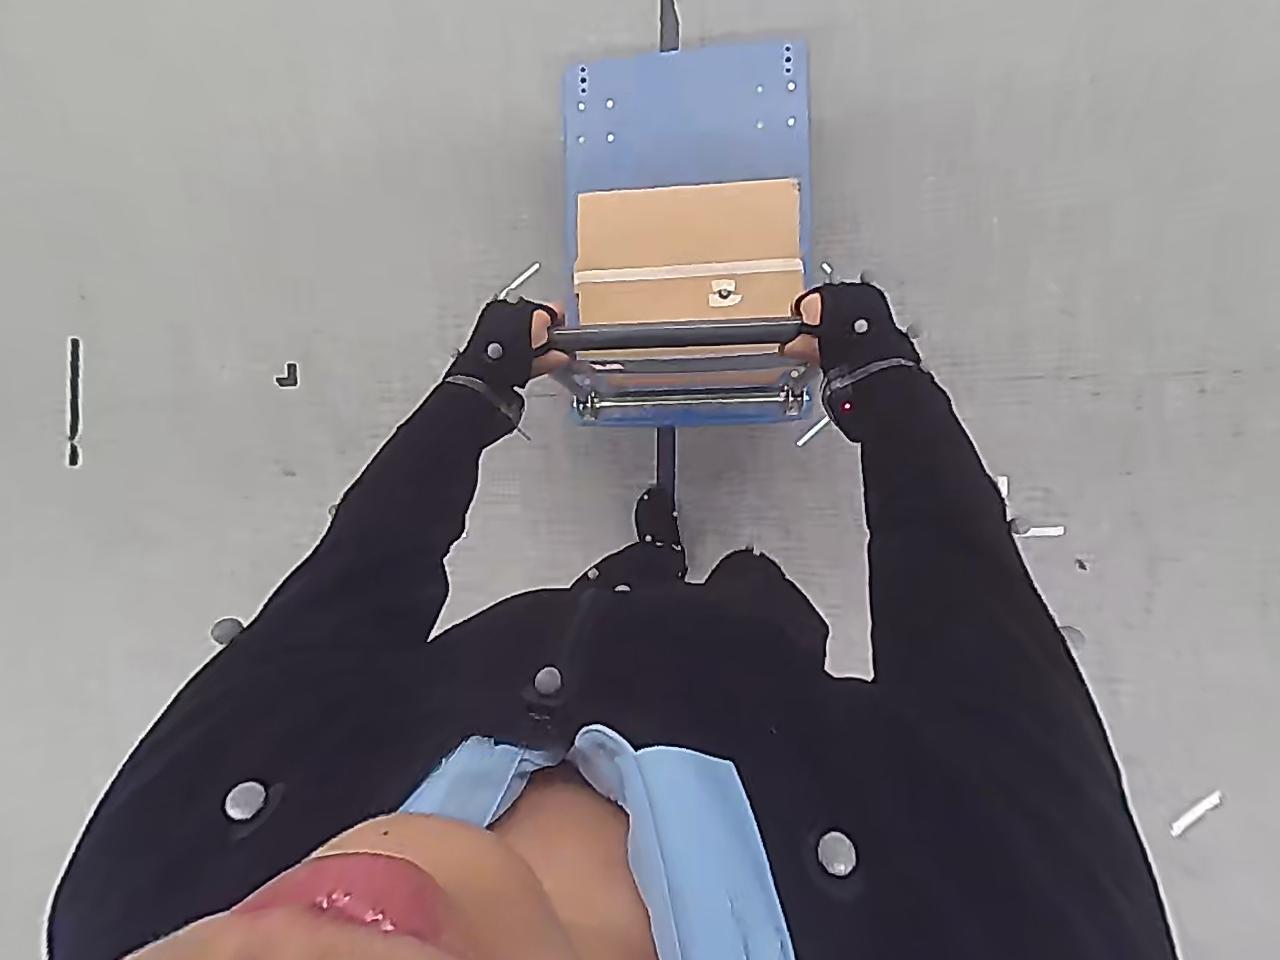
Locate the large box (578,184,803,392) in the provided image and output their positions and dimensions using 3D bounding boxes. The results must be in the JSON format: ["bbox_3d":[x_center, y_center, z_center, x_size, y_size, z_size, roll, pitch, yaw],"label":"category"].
[{"bbox_3d":[0.099,-0.366,1.121,0.408,0.320,0.320,-1,91,5],"label":"large box"}]
